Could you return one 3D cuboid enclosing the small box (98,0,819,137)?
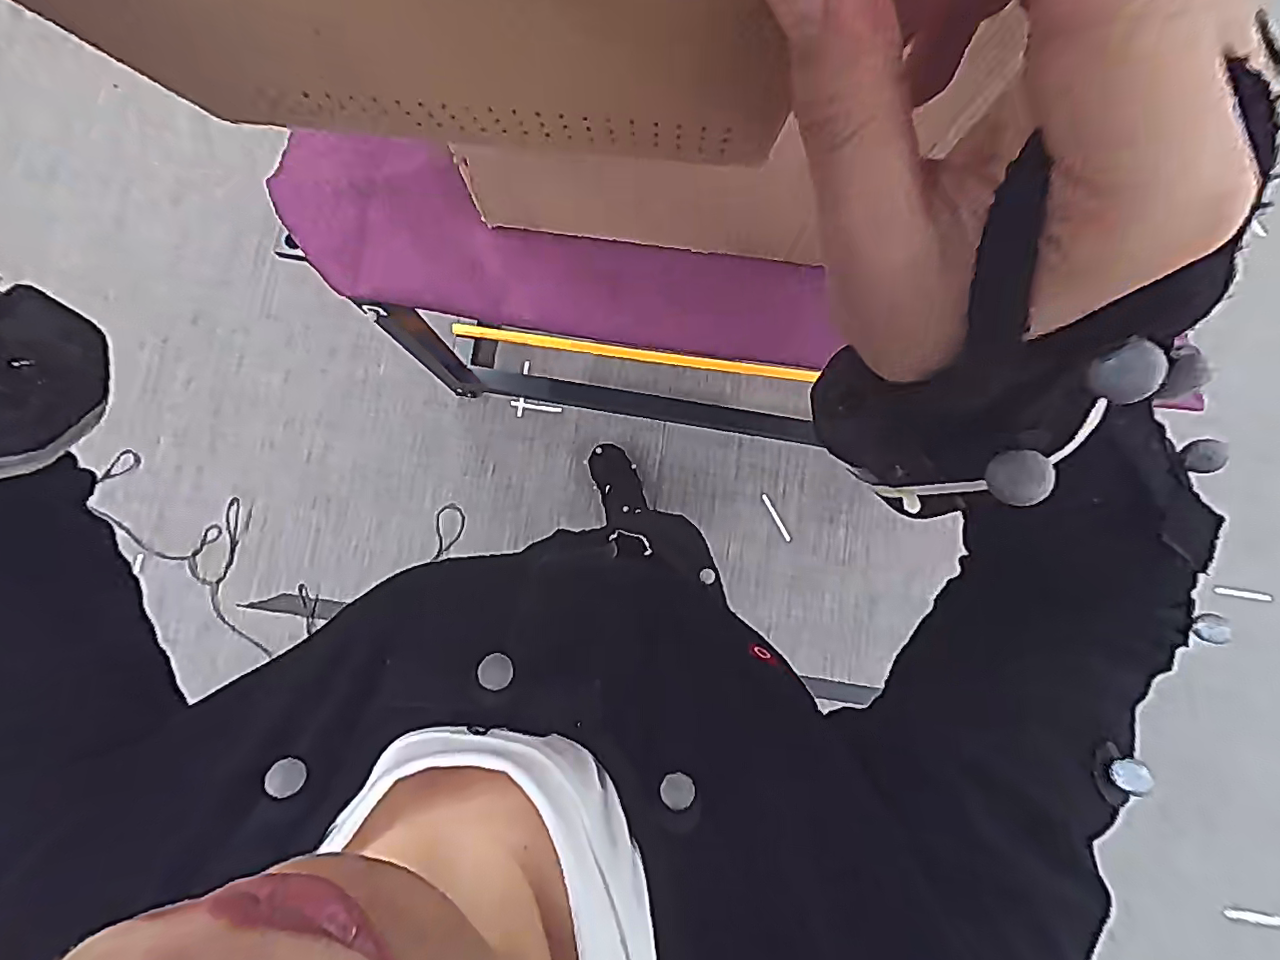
[{"bbox_3d":[-0.040,-0.171,0.069,0.179,0.176,0.168,6,102,1],"label":"small box"}]
